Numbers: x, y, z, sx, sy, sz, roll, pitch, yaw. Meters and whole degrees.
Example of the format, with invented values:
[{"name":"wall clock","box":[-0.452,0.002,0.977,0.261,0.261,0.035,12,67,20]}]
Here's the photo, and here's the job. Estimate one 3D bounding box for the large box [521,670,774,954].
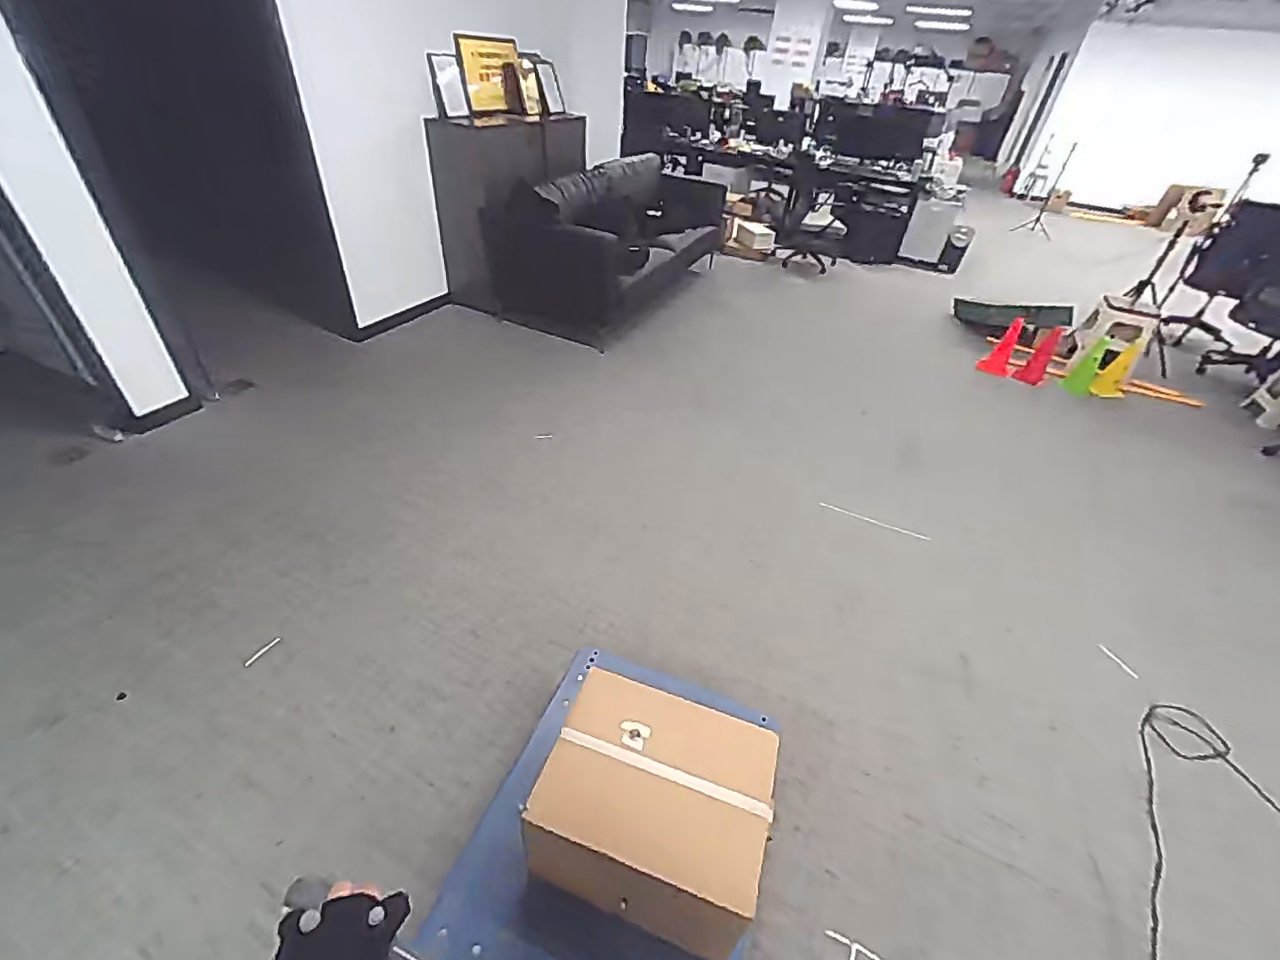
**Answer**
[{"name":"large box","box":[0.023,0.655,1.086,0.408,0.320,0.320,15,39,14]}]
